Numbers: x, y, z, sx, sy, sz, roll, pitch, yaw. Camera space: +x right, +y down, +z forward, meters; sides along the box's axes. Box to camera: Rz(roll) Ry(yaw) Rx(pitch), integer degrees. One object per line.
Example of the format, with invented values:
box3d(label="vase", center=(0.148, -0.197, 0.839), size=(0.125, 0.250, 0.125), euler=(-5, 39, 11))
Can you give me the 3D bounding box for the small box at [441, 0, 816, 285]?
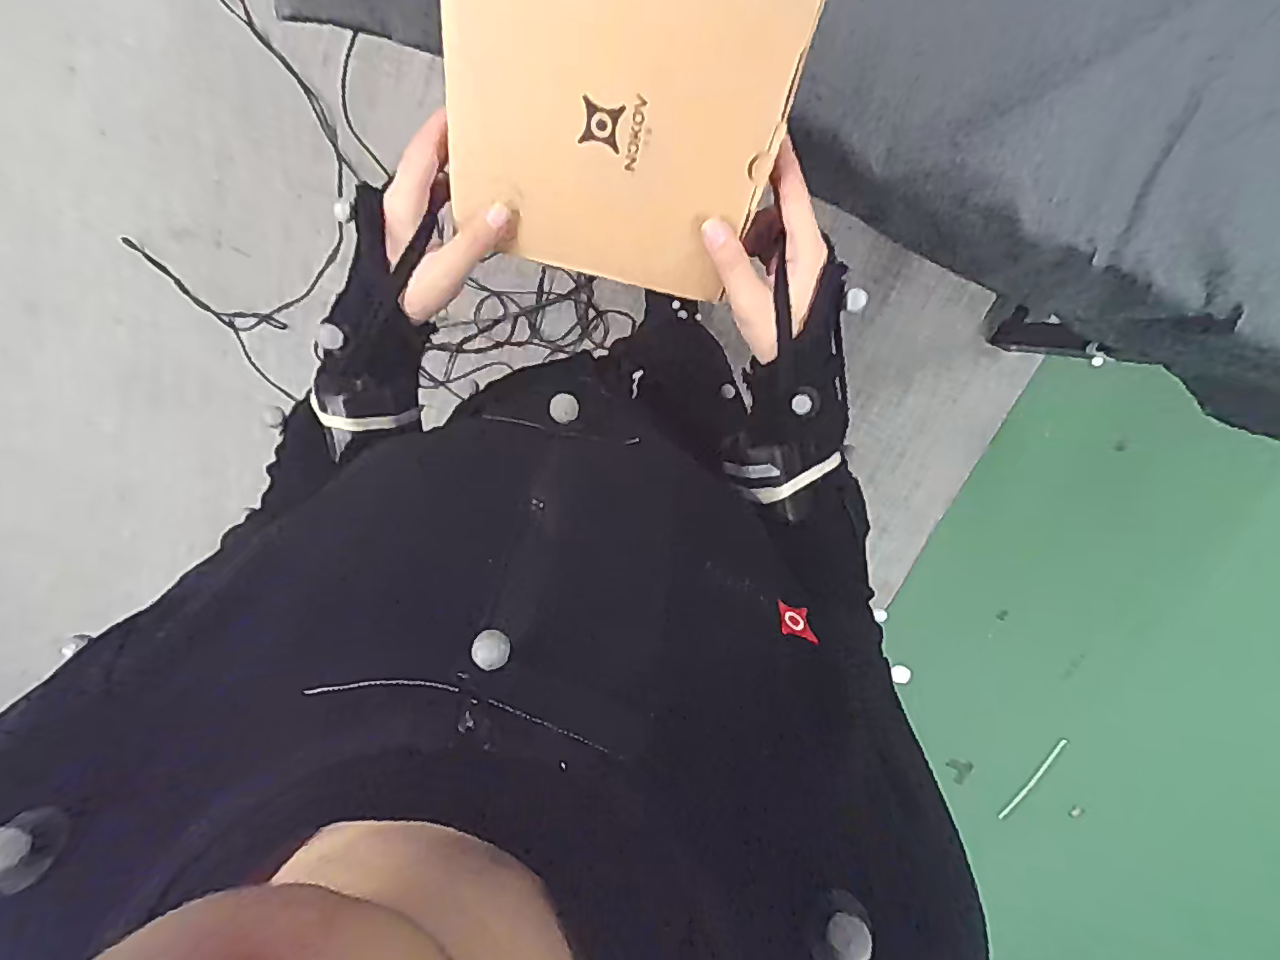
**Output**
box3d(label="small box", center=(-0.008, -0.252, 0.338), size=(0.179, 0.176, 0.168), euler=(11, 136, -5))
